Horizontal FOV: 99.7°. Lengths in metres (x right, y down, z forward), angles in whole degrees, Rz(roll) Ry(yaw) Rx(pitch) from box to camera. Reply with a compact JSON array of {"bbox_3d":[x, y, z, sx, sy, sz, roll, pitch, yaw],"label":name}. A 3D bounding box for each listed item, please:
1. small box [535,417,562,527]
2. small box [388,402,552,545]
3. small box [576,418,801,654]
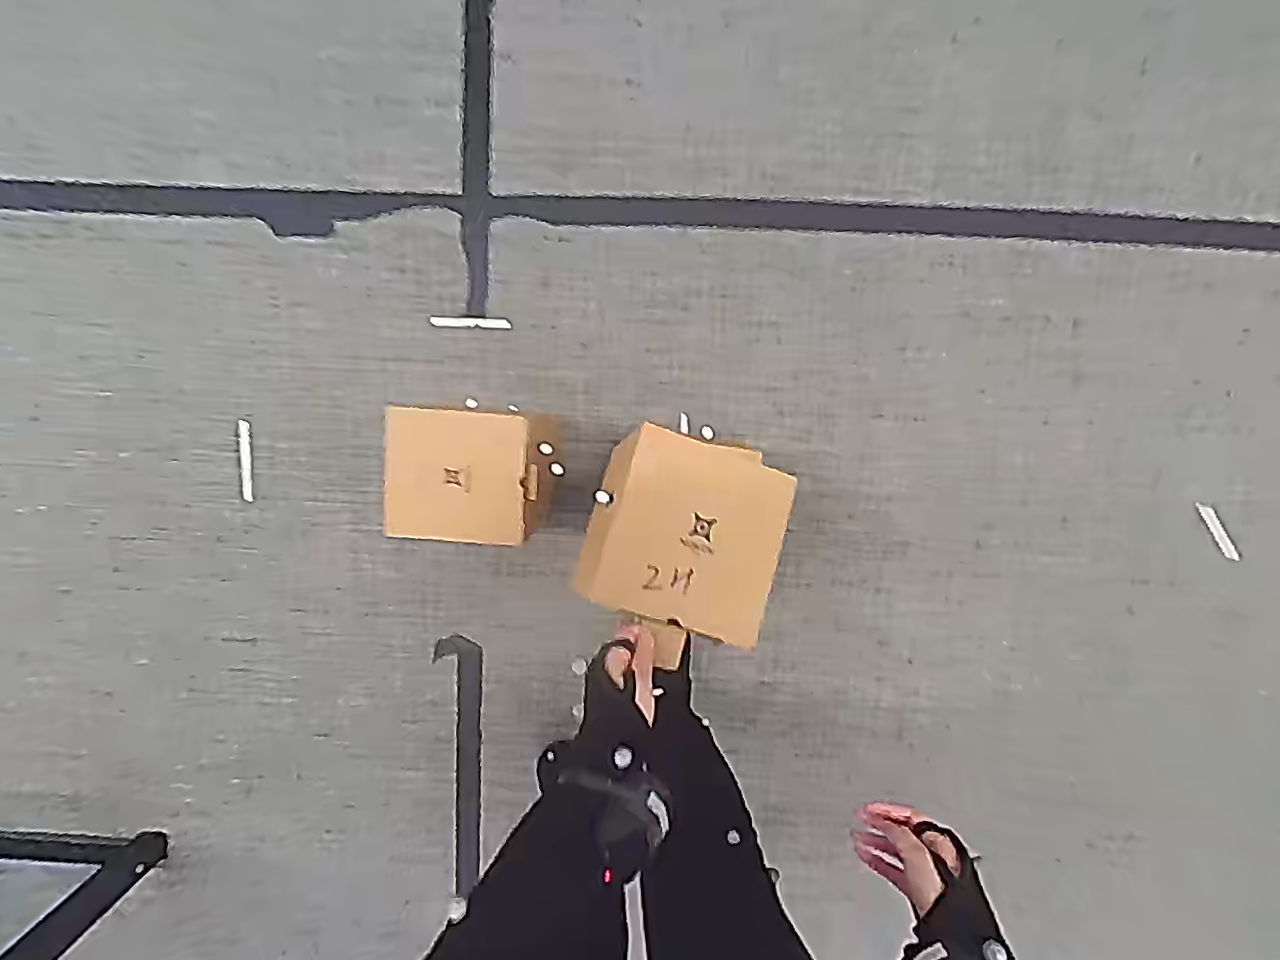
[{"bbox_3d":[-0.232,-0.031,0.906,0.179,0.176,0.168,9,99,-2],"label":"small box"},{"bbox_3d":[-0.222,-0.018,0.743,0.179,0.176,0.168,5,99,0],"label":"small box"},{"bbox_3d":[0.038,0.059,0.567,0.168,0.176,0.179,20,80,-9],"label":"small box"}]
